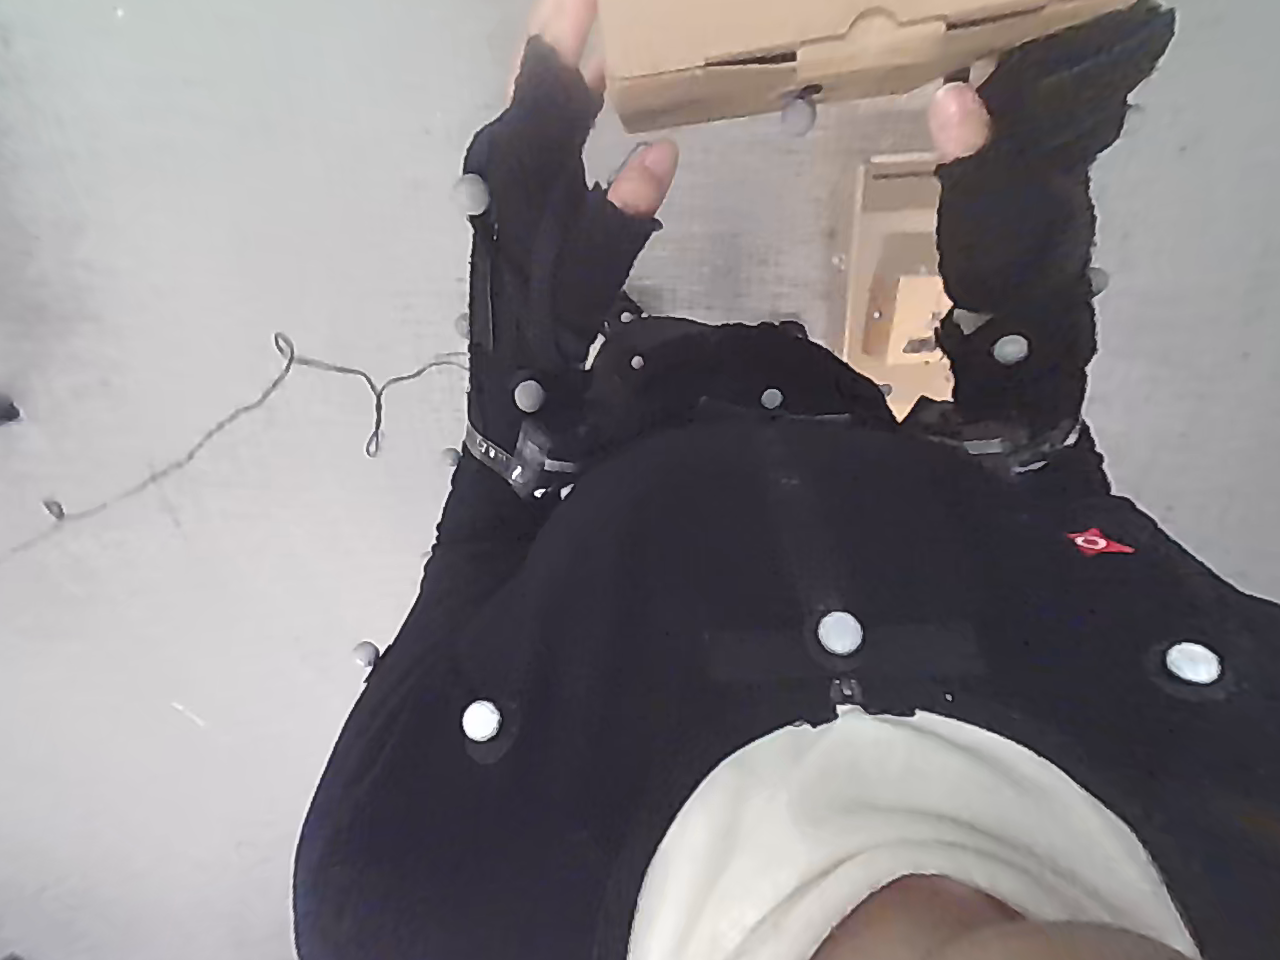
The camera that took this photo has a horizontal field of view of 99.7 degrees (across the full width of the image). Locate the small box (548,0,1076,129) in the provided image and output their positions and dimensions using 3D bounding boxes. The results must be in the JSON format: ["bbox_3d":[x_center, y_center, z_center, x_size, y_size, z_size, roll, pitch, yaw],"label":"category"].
[{"bbox_3d":[0.047,-0.248,0.206,0.168,0.176,0.179,-7,119,5],"label":"small box"}]

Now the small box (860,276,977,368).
[{"bbox_3d":[0.592,-0.347,1.174,0.168,0.176,0.179,-1,111,4],"label":"small box"}]
